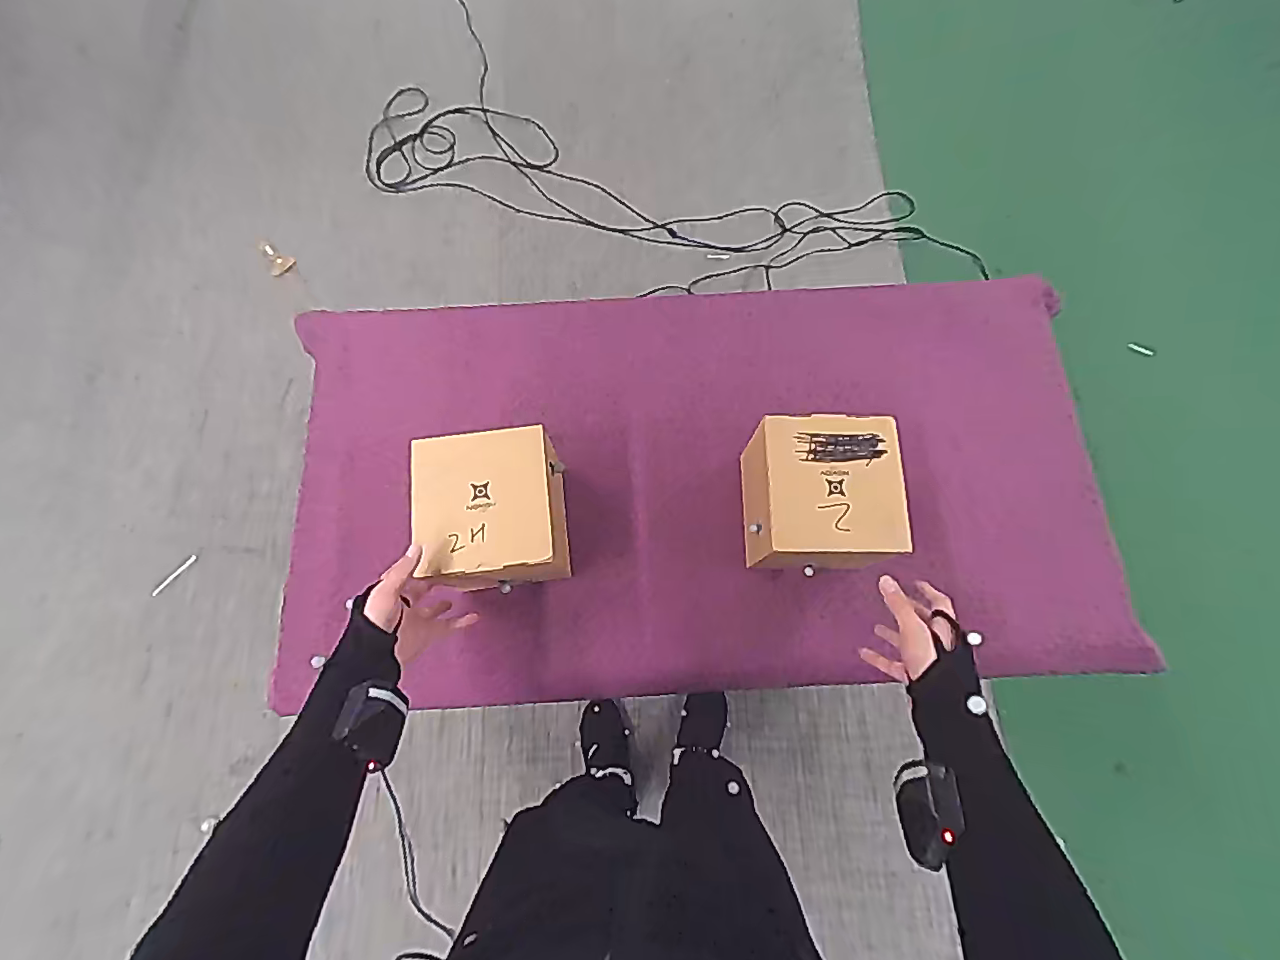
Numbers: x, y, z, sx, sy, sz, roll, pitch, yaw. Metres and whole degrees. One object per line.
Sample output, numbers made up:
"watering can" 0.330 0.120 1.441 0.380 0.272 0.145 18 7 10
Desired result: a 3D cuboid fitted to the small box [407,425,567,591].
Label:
"small box" -0.192 0.044 0.718 0.168 0.176 0.179 -6 73 -2
